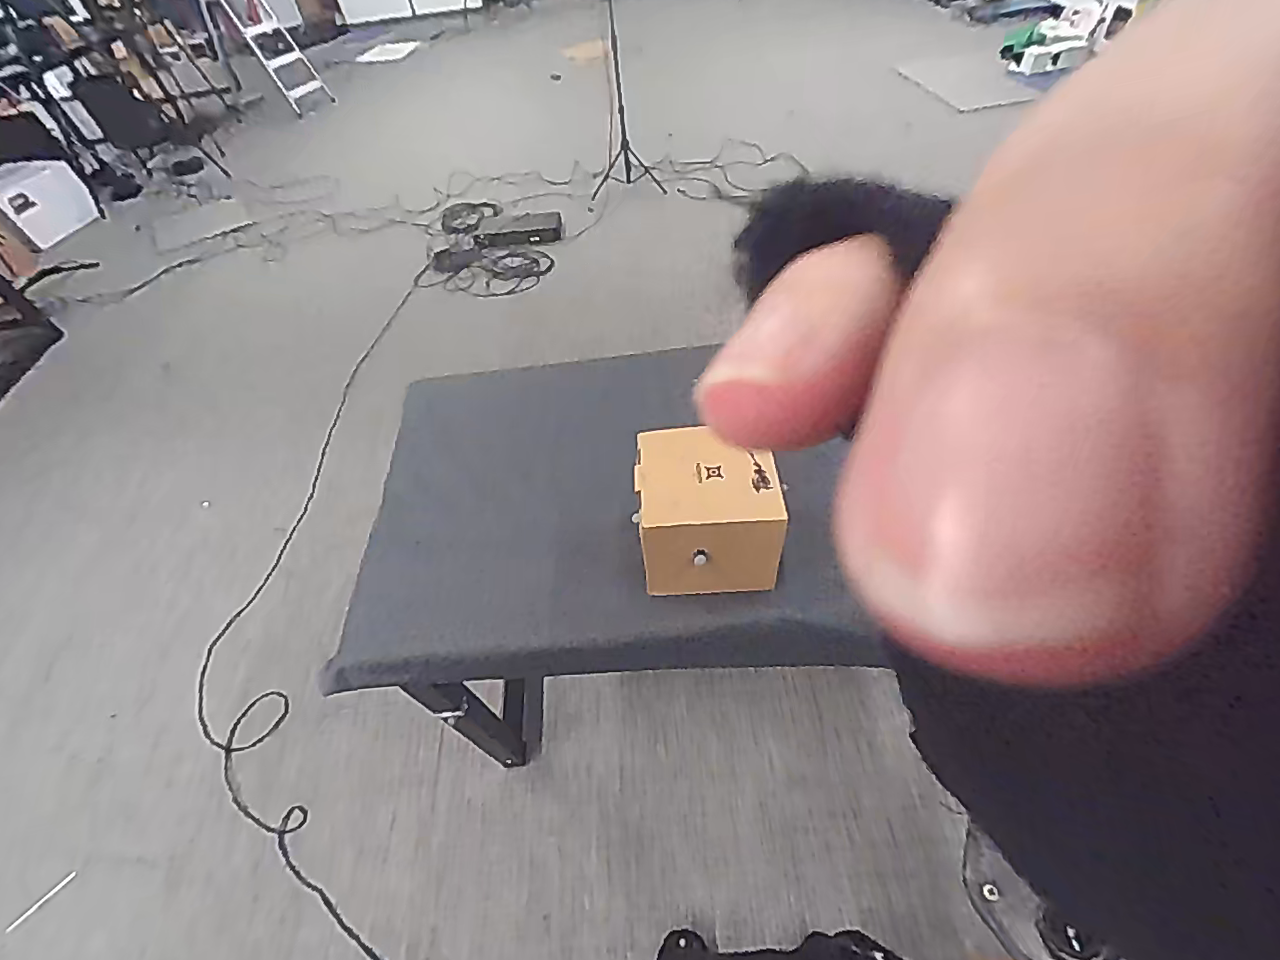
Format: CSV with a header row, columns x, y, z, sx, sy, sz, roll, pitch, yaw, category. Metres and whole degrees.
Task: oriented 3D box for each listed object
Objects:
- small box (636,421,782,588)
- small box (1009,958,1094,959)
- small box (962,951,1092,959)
x,y,z,sx,sy,sz,roll,pitch,yaw,category
0.090,0.039,0.750,0.179,0.176,0.168,-3,50,4,small box
0.656,0.814,0.791,0.179,0.176,0.168,-4,49,4,small box
0.681,0.916,0.918,0.179,0.176,0.168,-7,49,2,small box
